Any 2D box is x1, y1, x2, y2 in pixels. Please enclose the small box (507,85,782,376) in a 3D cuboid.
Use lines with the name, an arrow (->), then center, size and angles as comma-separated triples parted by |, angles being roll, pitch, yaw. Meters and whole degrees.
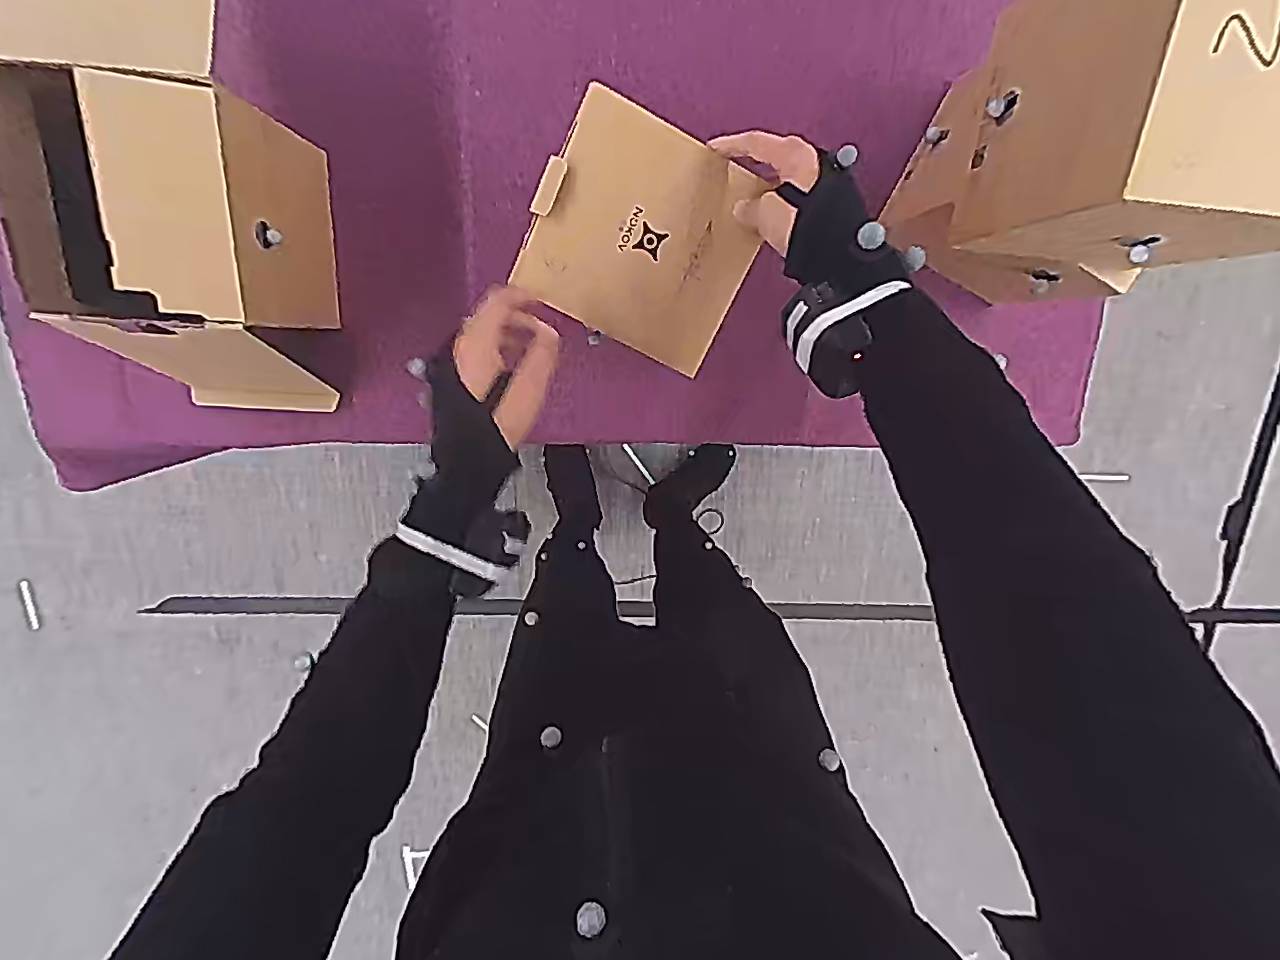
small box -> -0.001, -0.215, 0.516 | 0.179, 0.176, 0.168 | 26, 103, -10

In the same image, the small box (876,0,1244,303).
small box -> 0.370, -0.283, 0.514 | 0.179, 0.176, 0.168 | 26, 102, -9
